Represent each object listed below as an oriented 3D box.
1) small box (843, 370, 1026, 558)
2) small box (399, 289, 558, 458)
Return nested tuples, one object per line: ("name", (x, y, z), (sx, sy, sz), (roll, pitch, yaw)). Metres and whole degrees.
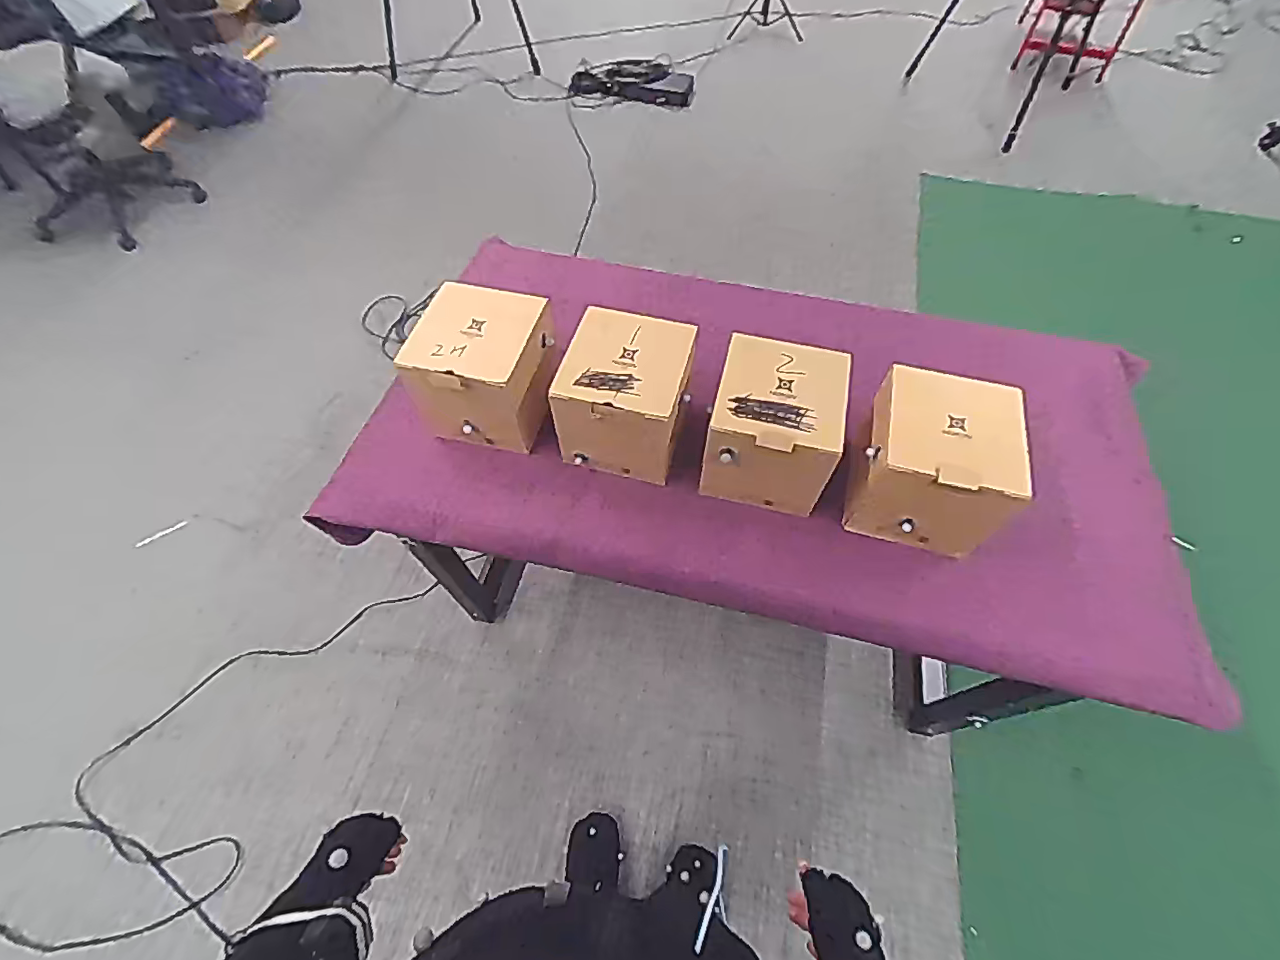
("small box", (0.393, -0.019, 0.750), (0.168, 0.176, 0.179), (14, 59, 9))
("small box", (-0.233, -0.162, 0.840), (0.168, 0.176, 0.179), (12, 59, 8))
